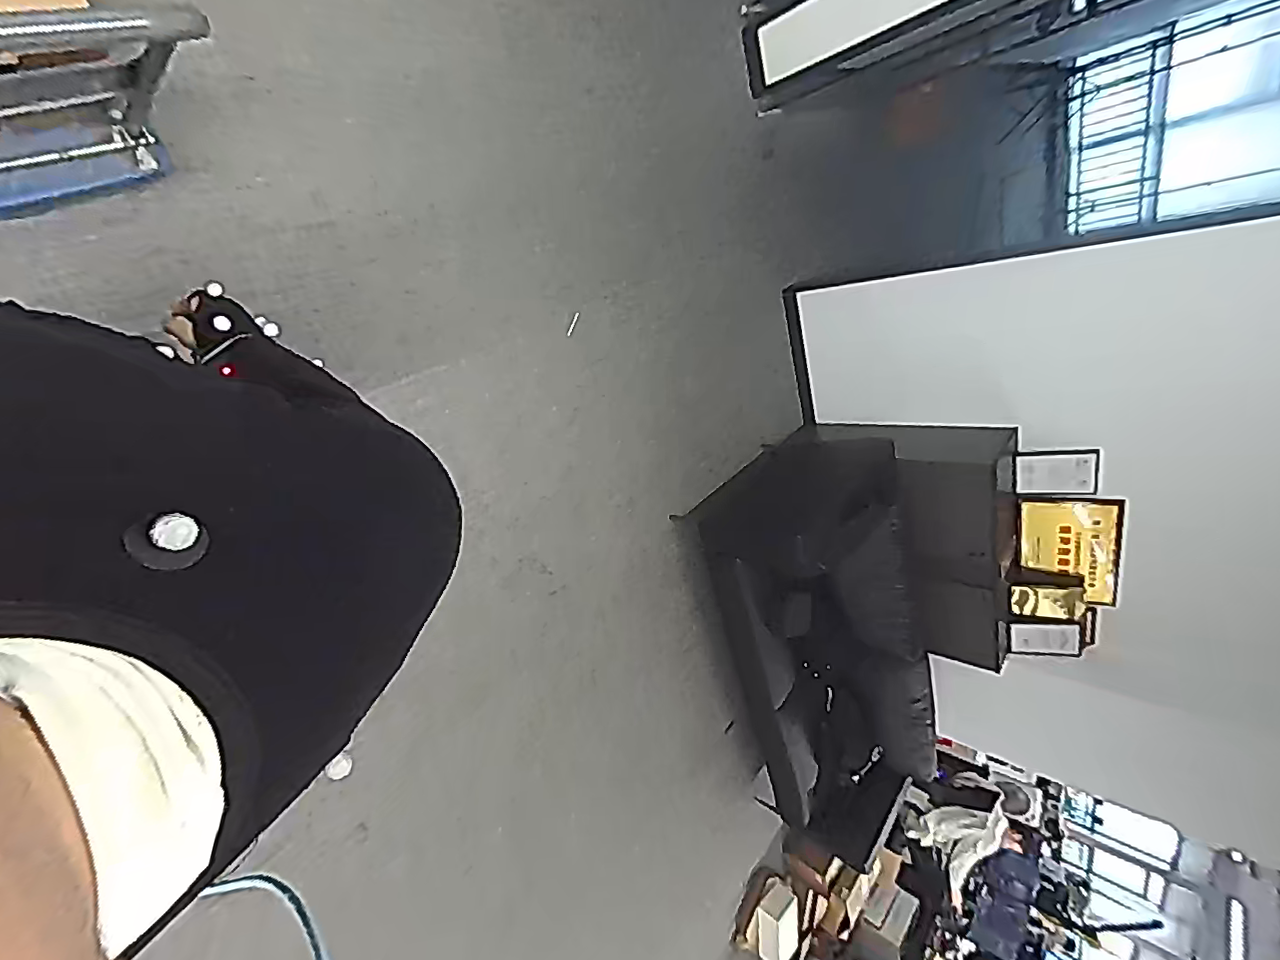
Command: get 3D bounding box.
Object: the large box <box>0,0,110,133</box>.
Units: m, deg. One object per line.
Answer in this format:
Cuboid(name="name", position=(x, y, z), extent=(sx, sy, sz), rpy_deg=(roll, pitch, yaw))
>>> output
Cuboid(name="large box", position=(-1.057, -0.752, 0.745), extent=(0.320, 0.320, 0.408), rpy_deg=(-42, 123, -34))
